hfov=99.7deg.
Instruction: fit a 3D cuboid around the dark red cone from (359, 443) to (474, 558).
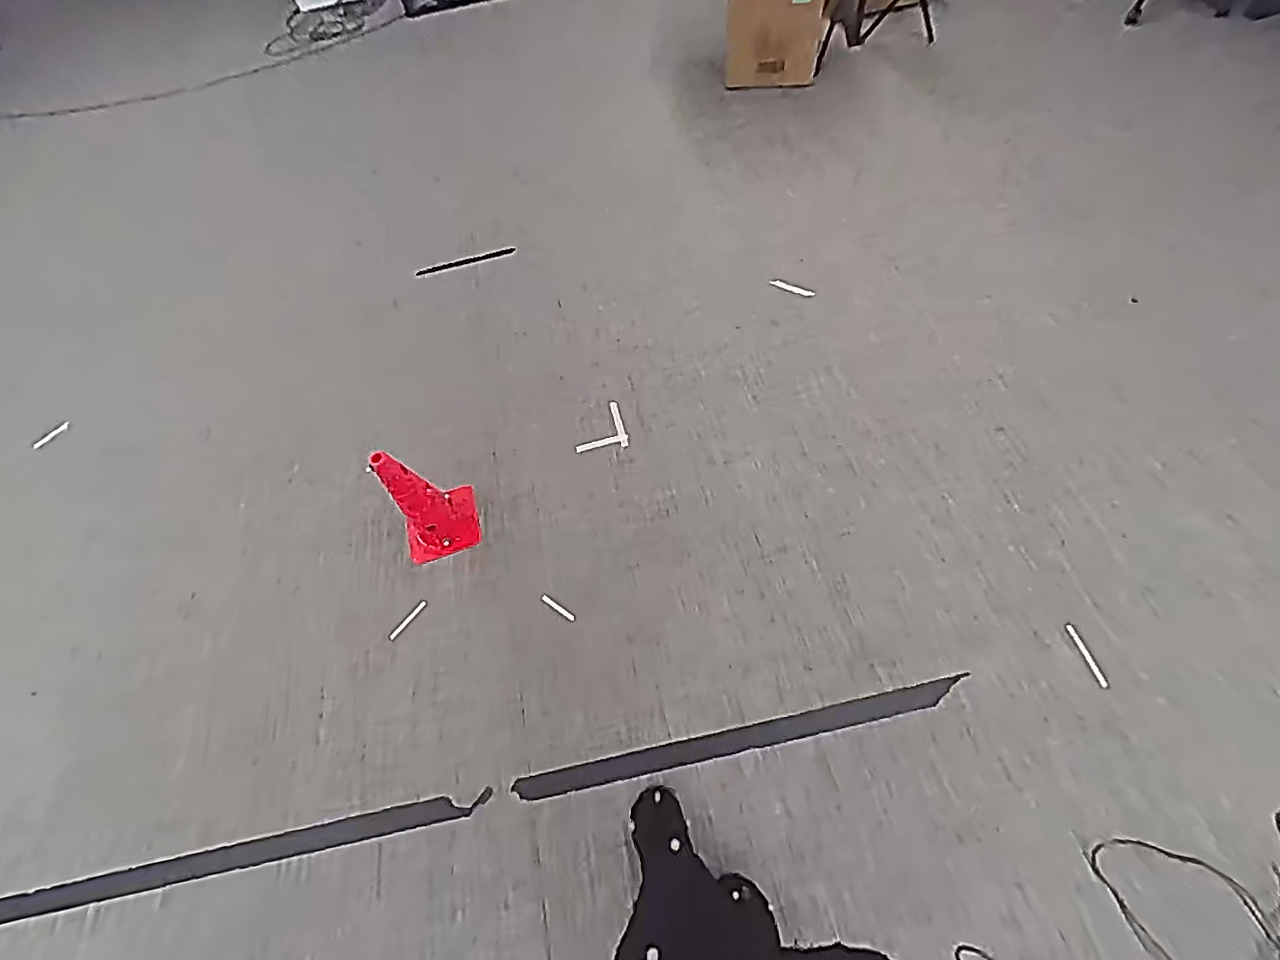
[{"bbox_3d":[-0.584,0.028,1.357,0.202,0.394,0.201,-20,61,-5],"label":"dark red cone"}]
